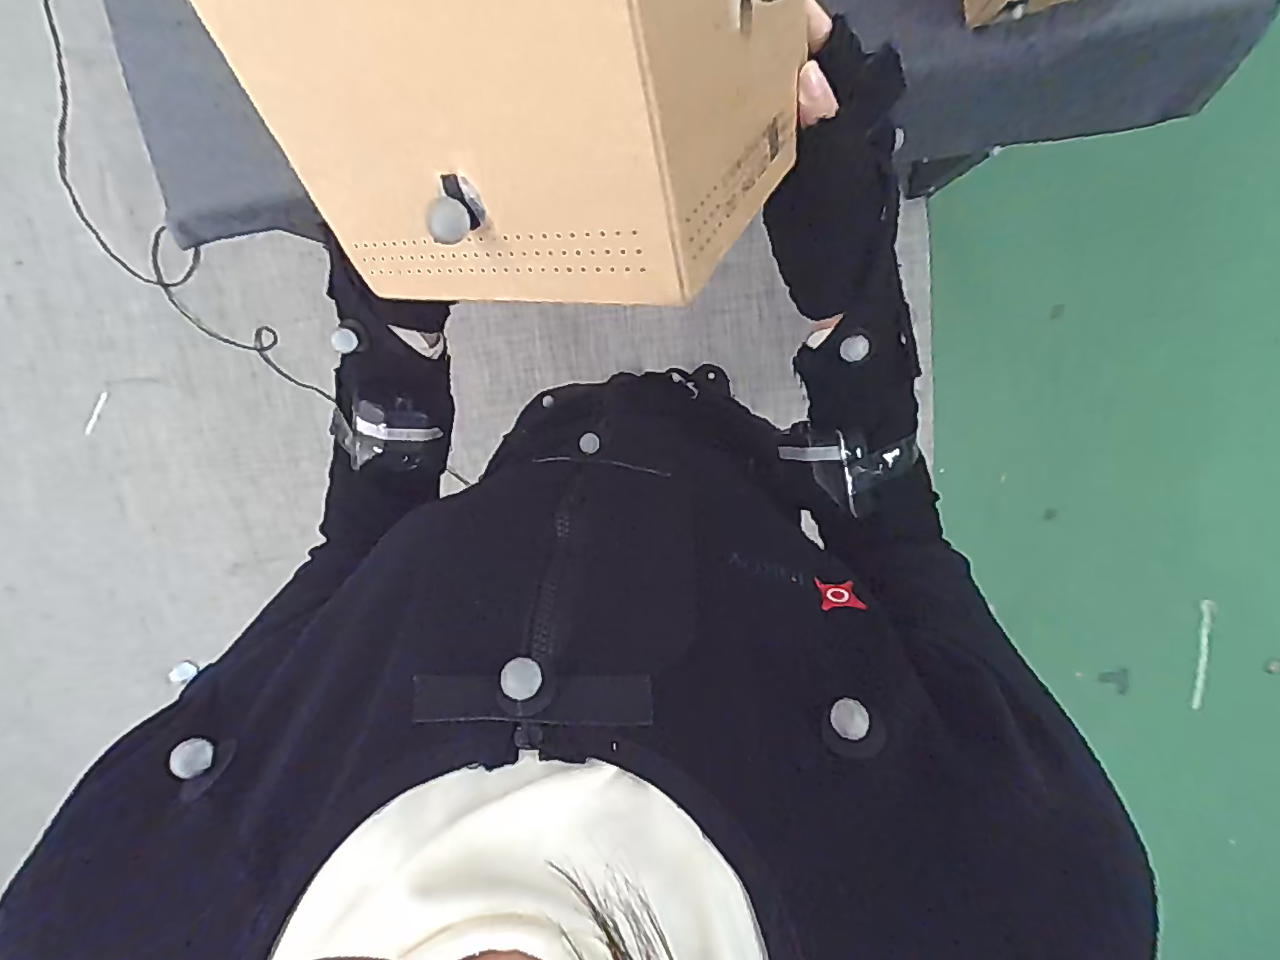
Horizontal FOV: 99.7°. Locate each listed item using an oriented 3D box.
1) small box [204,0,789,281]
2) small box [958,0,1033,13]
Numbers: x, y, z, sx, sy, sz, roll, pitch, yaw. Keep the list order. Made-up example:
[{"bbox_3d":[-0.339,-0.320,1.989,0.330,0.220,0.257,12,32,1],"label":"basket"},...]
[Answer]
[{"bbox_3d":[-0.043,-0.197,0.224,0.179,0.168,0.176,11,140,27],"label":"small box"},{"bbox_3d":[0.383,-0.548,0.459,0.168,0.176,0.179,-11,100,7],"label":"small box"}]
